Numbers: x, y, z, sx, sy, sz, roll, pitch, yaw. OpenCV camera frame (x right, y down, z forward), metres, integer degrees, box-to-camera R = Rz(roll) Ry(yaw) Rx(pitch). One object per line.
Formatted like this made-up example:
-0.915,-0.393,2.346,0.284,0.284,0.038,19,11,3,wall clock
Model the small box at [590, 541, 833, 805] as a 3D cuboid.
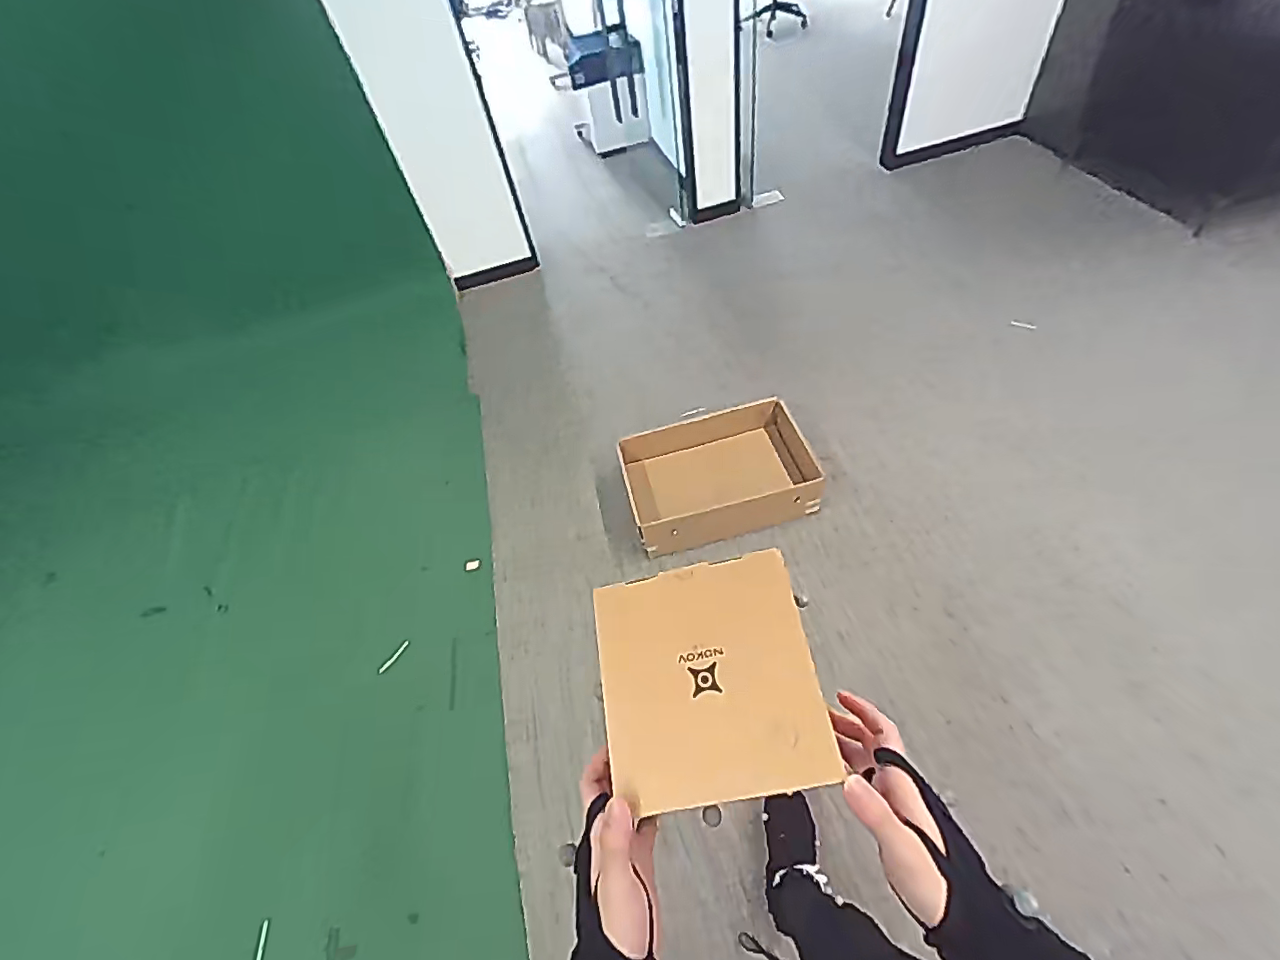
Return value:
0.064,0.180,0.488,0.168,0.176,0.179,-14,57,7,small box
